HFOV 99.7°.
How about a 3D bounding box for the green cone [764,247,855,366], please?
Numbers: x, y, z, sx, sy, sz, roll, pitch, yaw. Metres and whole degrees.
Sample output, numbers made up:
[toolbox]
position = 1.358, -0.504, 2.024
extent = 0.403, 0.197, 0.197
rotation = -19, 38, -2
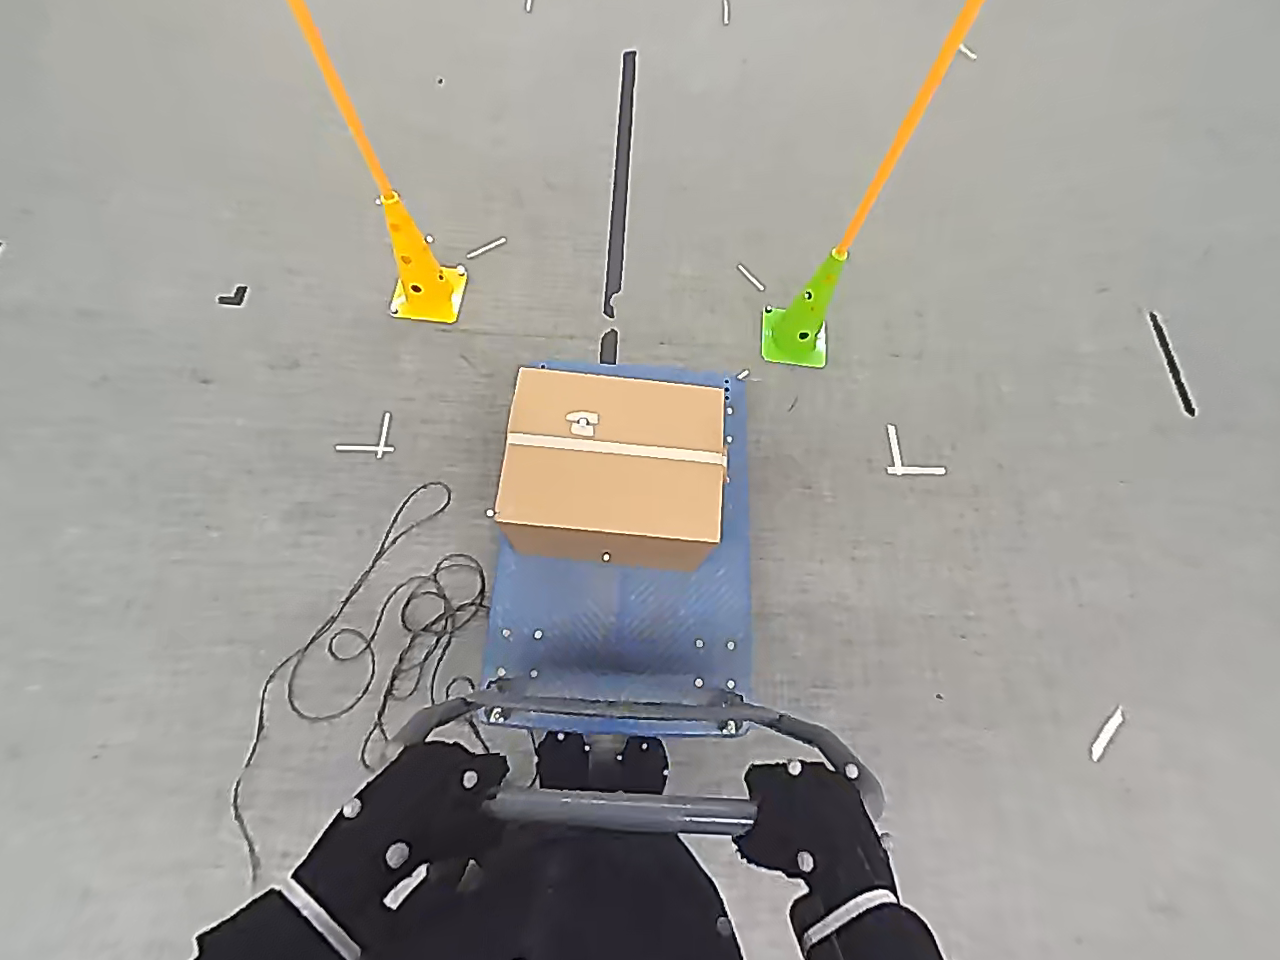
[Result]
[green cone]
position = 0.504, -0.511, 1.535
extent = 0.202, 0.368, 0.200
rotation = 7, 70, -3

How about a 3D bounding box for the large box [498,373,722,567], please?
[large box]
position = -0.051, -0.002, 1.153
extent = 0.408, 0.320, 0.320
rotation = 6, 70, -1
